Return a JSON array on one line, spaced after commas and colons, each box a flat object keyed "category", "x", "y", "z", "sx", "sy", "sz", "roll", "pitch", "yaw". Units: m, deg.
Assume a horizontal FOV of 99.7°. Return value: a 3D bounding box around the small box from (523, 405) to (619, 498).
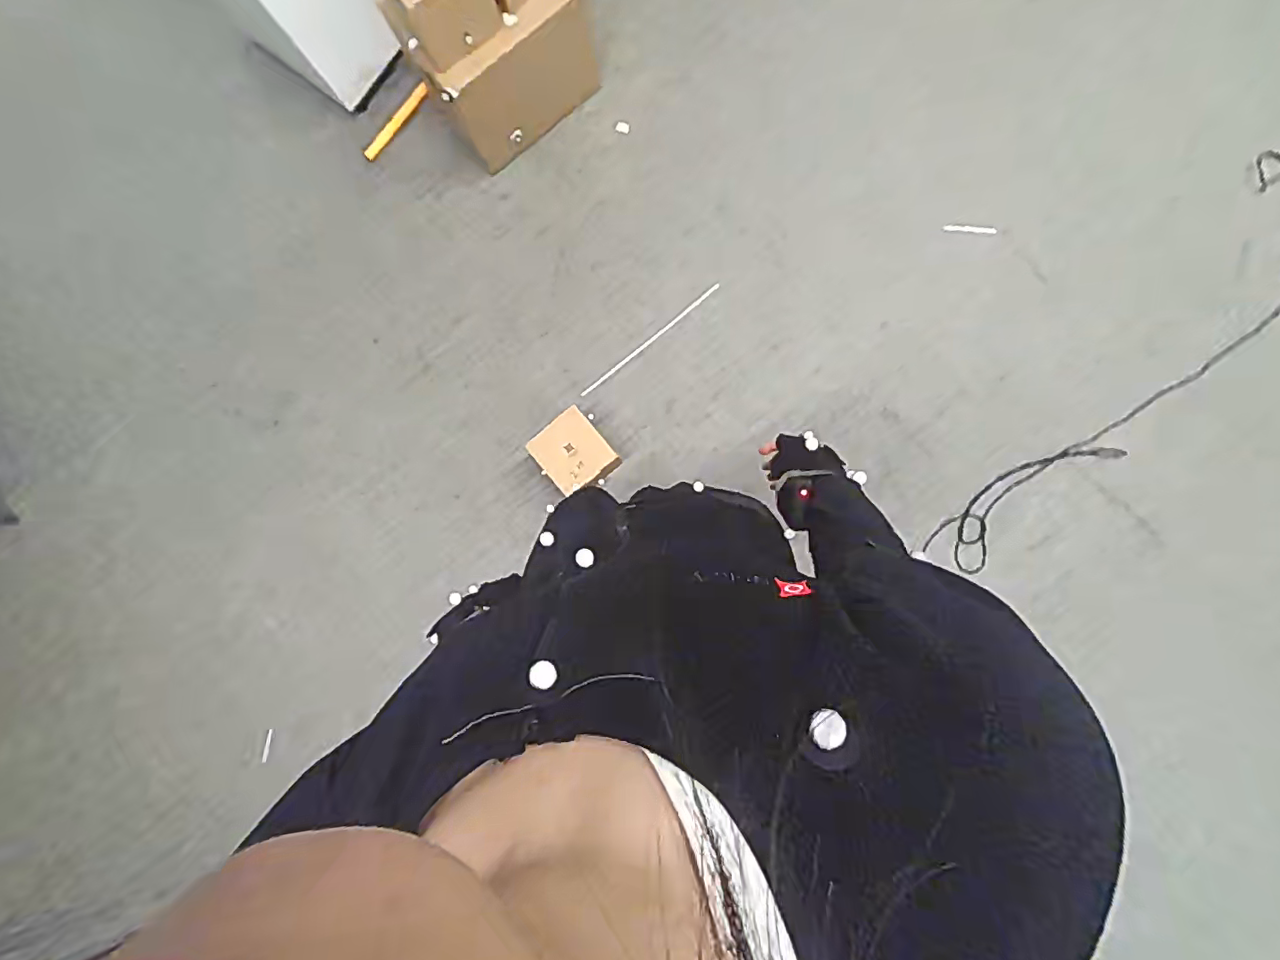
[{"category": "small box", "x": -0.172, "y": -0.067, "z": 1.410, "sx": 0.168, "sy": 0.176, "sz": 0.179, "roll": -40, "pitch": 87, "yaw": 1}]
